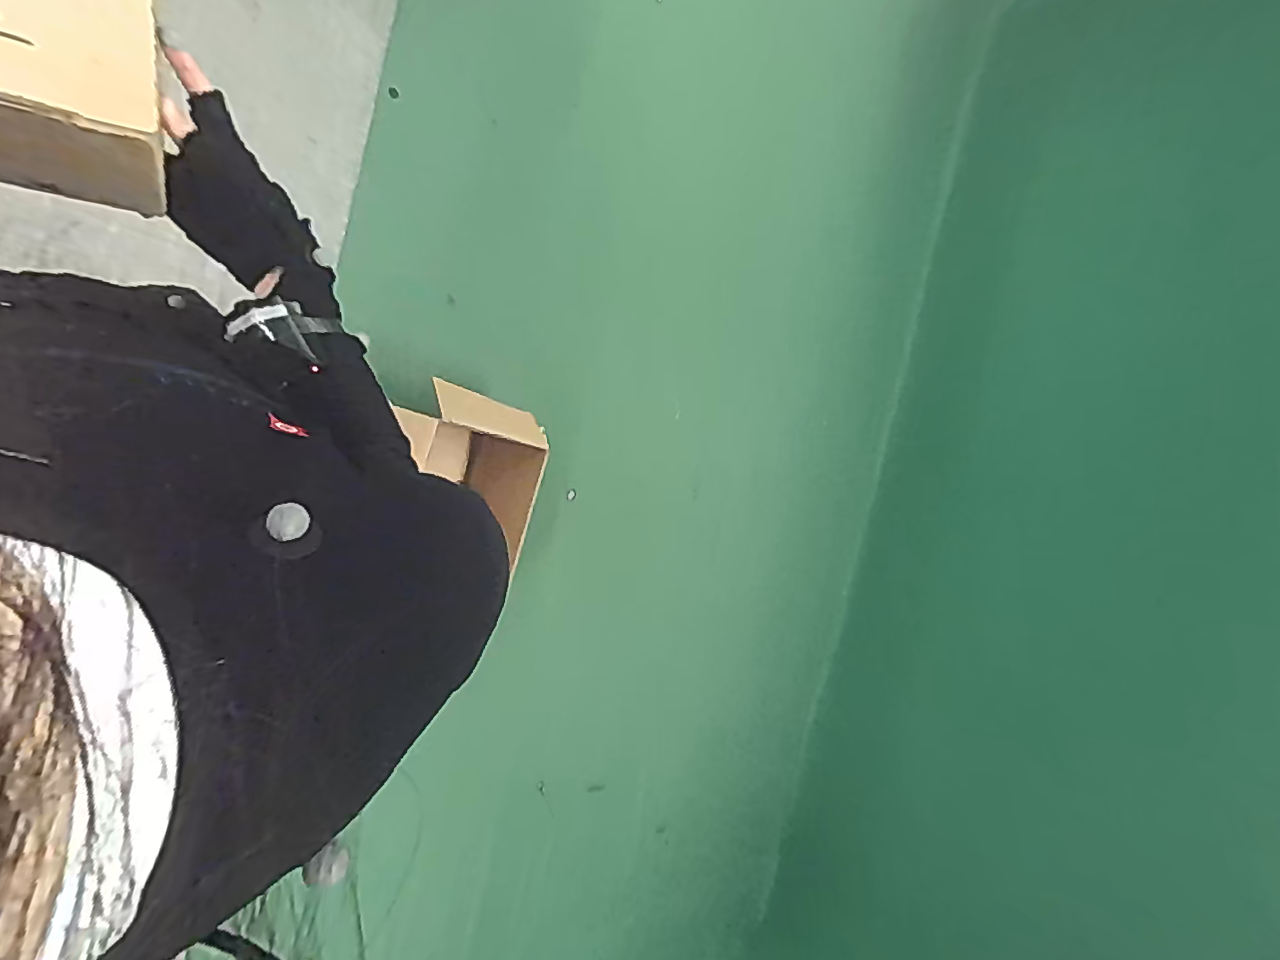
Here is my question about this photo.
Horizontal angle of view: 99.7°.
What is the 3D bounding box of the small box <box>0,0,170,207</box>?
[{"bbox_3d":[-0.369,-0.276,0.296,0.168,0.176,0.179,-2,98,-41],"label":"small box"}]
